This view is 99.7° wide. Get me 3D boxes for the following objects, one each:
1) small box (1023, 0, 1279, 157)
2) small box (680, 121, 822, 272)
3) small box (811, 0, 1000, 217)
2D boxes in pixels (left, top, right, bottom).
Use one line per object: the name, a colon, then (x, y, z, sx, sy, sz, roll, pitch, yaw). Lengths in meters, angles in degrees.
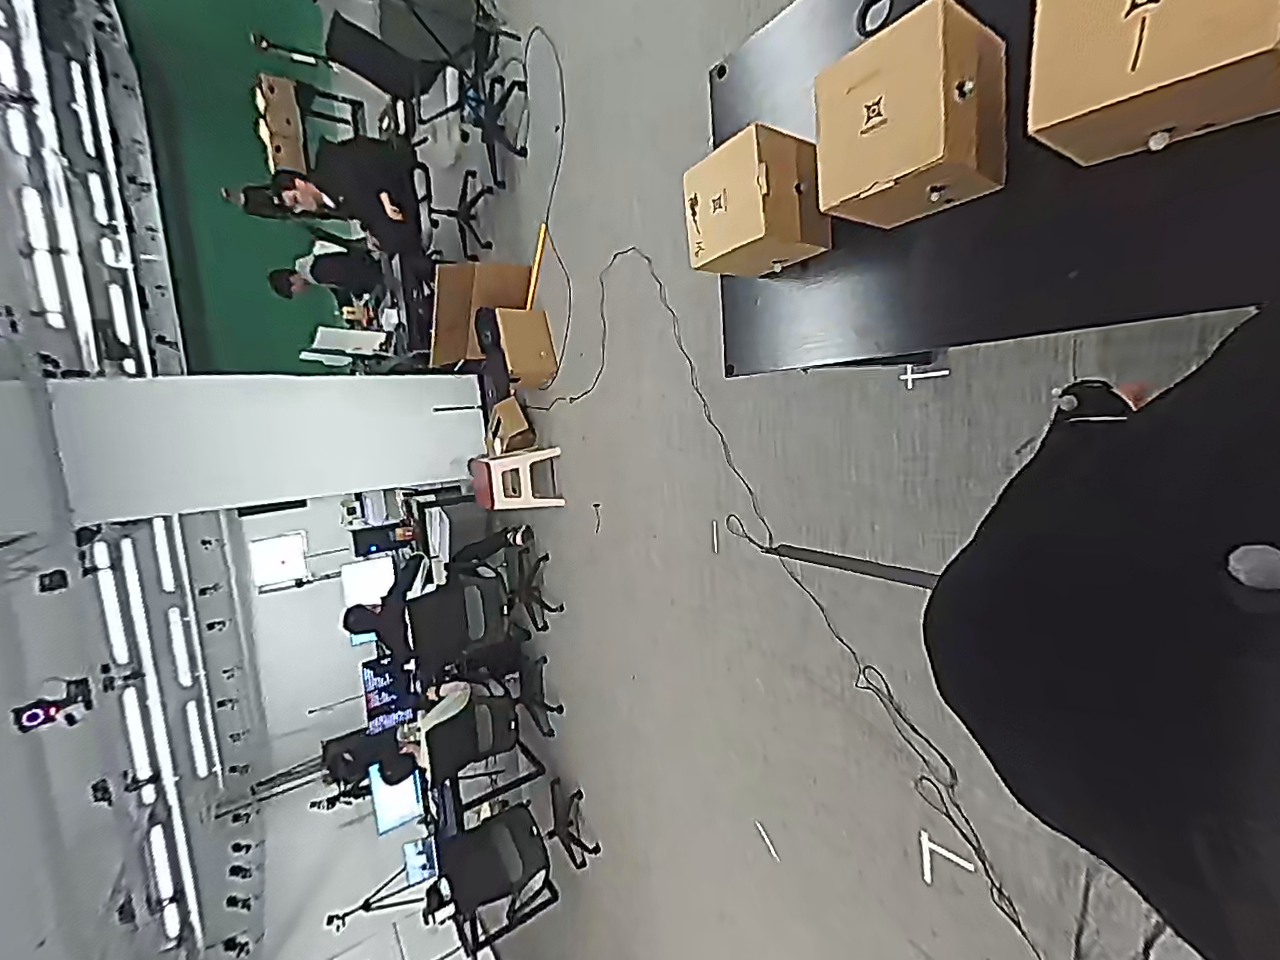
small box: (0.488, -0.433, 0.499, 0.168, 0.176, 0.179, 11, 107, 54)
small box: (0.192, -0.464, 0.915, 0.179, 0.176, 0.168, 2, 98, 54)
small box: (0.344, -0.460, 0.702, 0.168, 0.176, 0.179, 4, 100, 54)
